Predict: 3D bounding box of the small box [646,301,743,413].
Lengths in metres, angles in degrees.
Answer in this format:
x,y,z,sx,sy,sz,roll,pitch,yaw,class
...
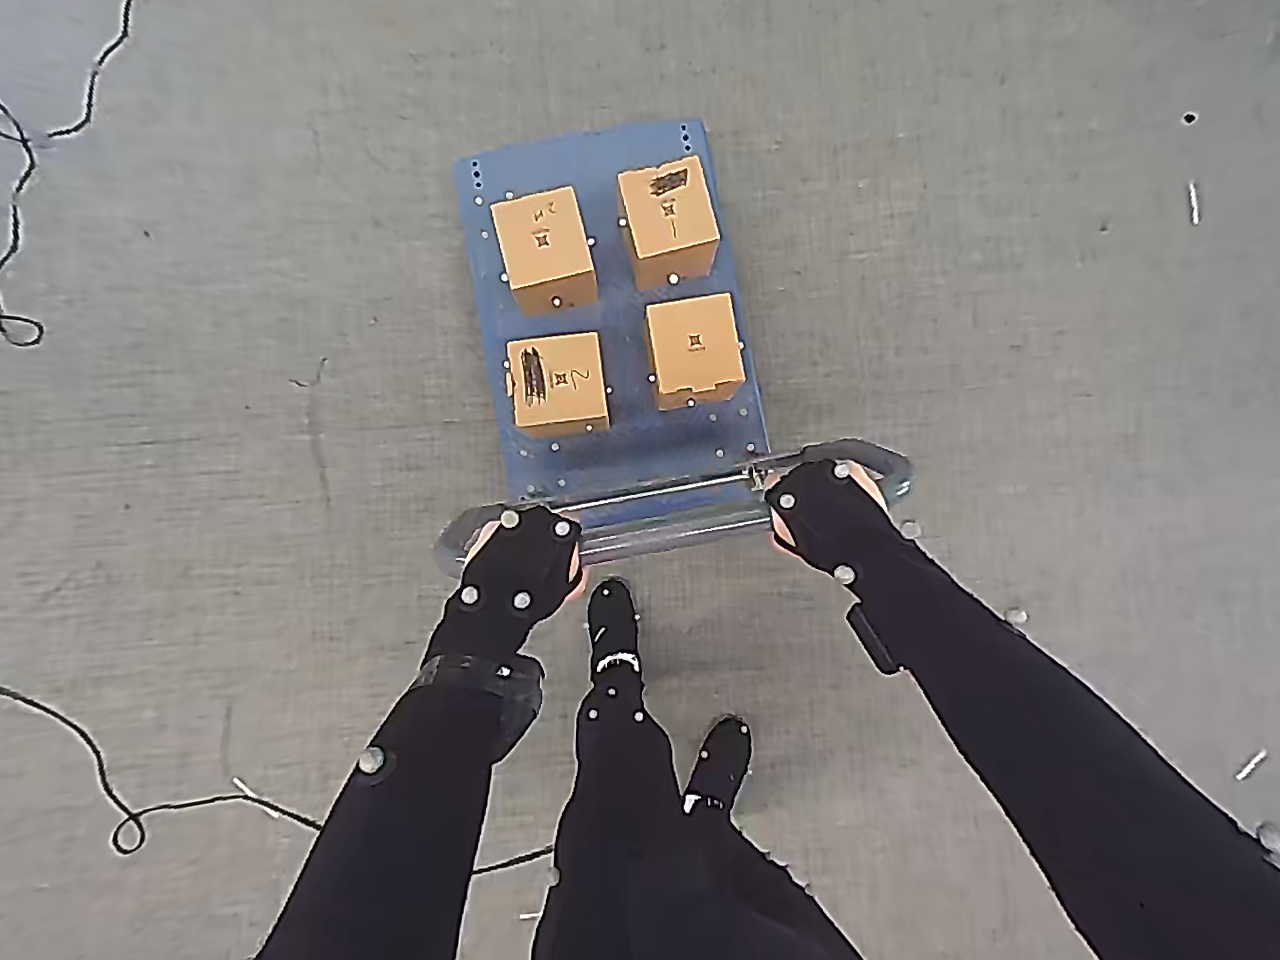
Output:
x,y,z,sx,sy,sz,roll,pitch,yaw,class
0.106,-0.251,1.134,0.168,0.176,0.179,-10,87,-1,small box

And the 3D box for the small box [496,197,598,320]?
x,y,z,sx,sy,sz,roll,pitch,yaw,class
-0.188,-0.453,1.142,0.168,0.176,0.179,-14,87,-2,small box

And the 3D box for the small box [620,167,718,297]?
x,y,z,sx,sy,sz,roll,pitch,yaw,class
0.056,-0.517,1.148,0.168,0.176,0.179,-14,88,-1,small box
